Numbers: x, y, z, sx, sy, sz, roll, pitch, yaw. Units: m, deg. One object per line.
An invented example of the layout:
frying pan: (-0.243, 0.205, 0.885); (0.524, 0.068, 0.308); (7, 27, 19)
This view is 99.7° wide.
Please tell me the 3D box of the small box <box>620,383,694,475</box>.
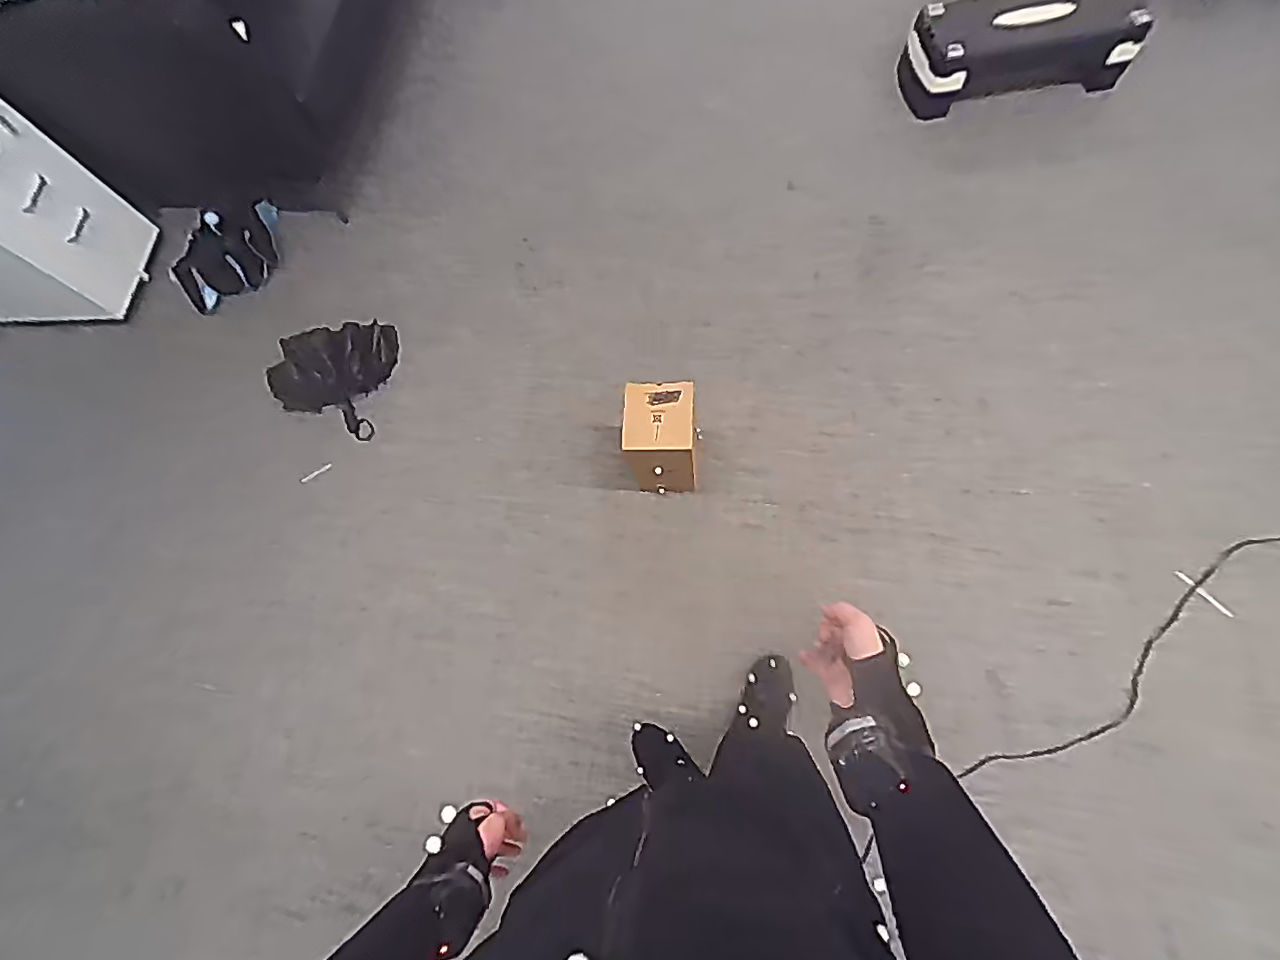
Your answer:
small box: (0.048, -0.123, 1.335); (0.168, 0.176, 0.179); (1, 72, 7)

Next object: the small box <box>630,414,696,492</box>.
small box: (0.068, -0.076, 1.492); (0.168, 0.176, 0.179); (1, 73, 8)
